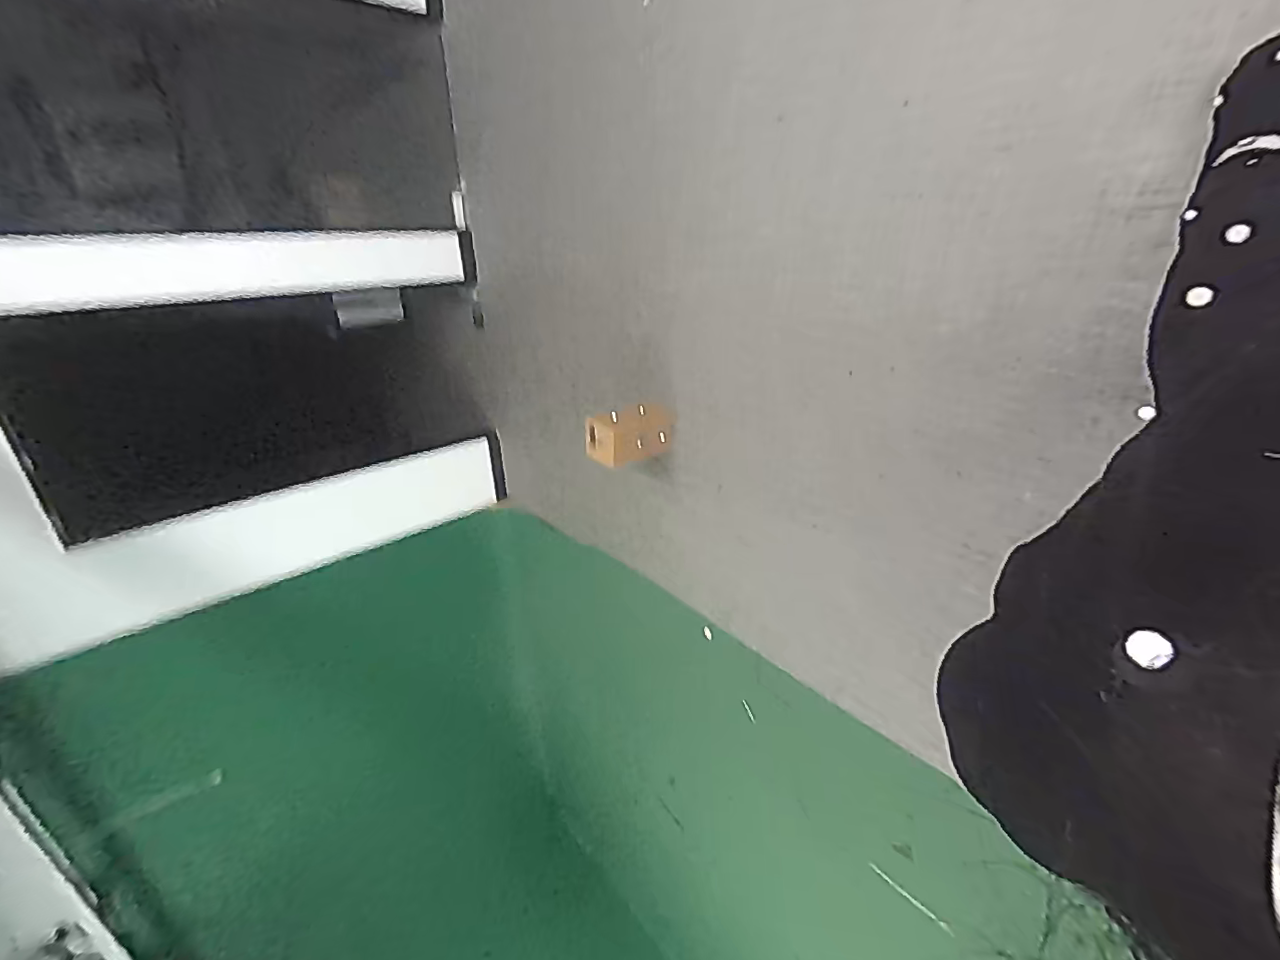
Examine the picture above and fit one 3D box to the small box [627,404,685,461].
[{"bbox_3d":[0.067,-0.203,2.239,0.179,0.176,0.168,31,130,40],"label":"small box"}]
